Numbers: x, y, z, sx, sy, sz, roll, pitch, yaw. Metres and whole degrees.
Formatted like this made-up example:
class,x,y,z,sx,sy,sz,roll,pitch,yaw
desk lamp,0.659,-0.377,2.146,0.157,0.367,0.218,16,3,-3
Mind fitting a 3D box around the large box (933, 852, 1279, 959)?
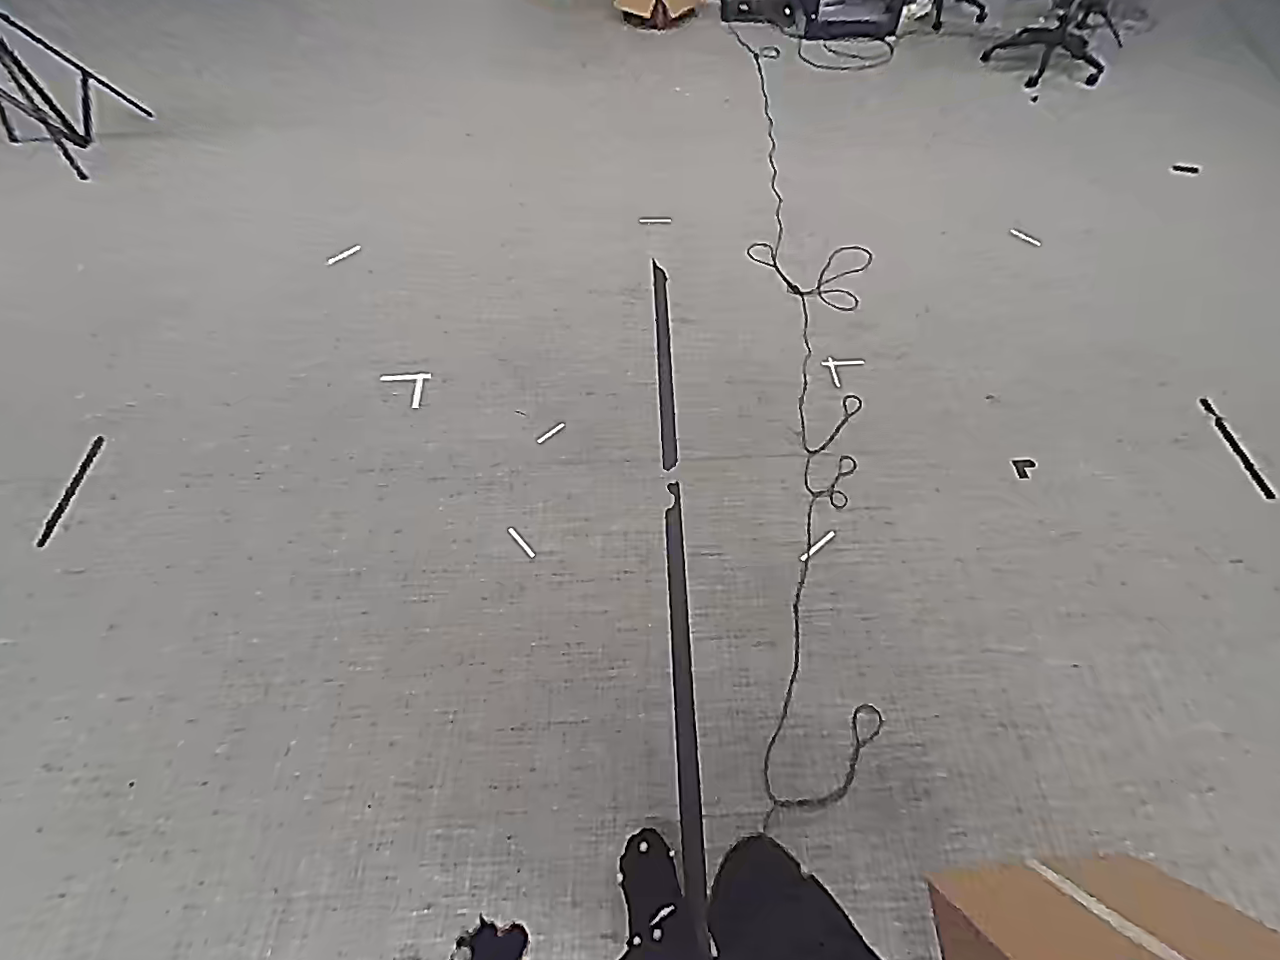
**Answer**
class,x,y,z,sx,sy,sz,roll,pitch,yaw
large box,0.596,0.679,0.587,0.320,0.408,0.320,-6,80,0
